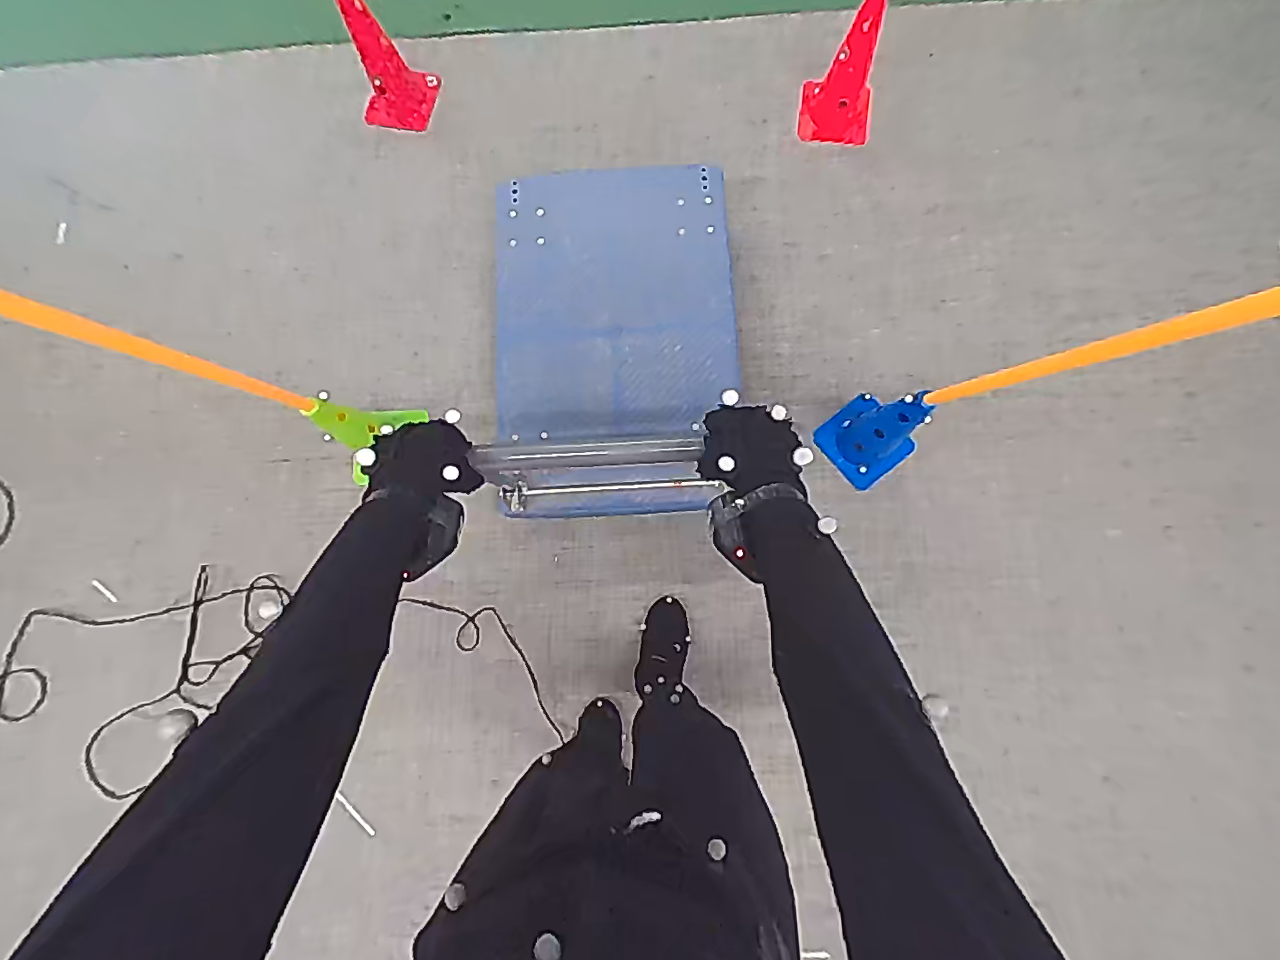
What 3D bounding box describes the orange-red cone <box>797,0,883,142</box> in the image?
[{"bbox_3d":[0.551,-1.097,1.392,0.198,0.360,0.199,9,82,5],"label":"orange-red cone"}]
